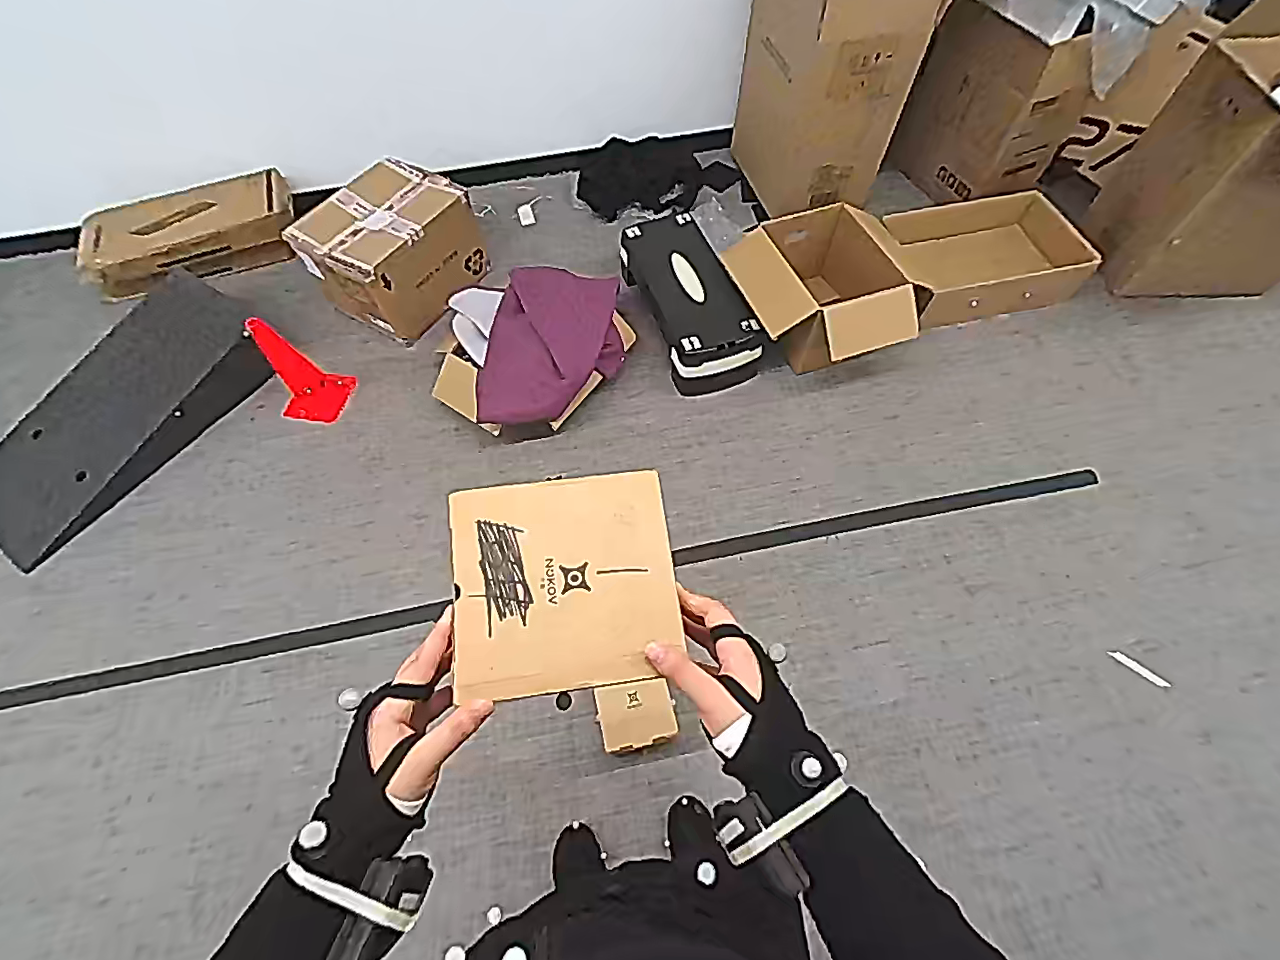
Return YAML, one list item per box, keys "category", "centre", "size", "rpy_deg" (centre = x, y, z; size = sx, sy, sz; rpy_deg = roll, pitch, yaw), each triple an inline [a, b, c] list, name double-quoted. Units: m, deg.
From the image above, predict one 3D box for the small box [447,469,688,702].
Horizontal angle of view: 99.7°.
- category: "small box"
  centre: [-0.062, 0.104, 0.490]
  size: [0.179, 0.176, 0.168]
  rpy_deg: [-6, 70, -6]

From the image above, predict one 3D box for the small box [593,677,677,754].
- category: "small box"
  centre: [-0.012, 0.530, 1.267]
  size: [0.168, 0.176, 0.179]
  rpy_deg: [-13, 62, -5]
